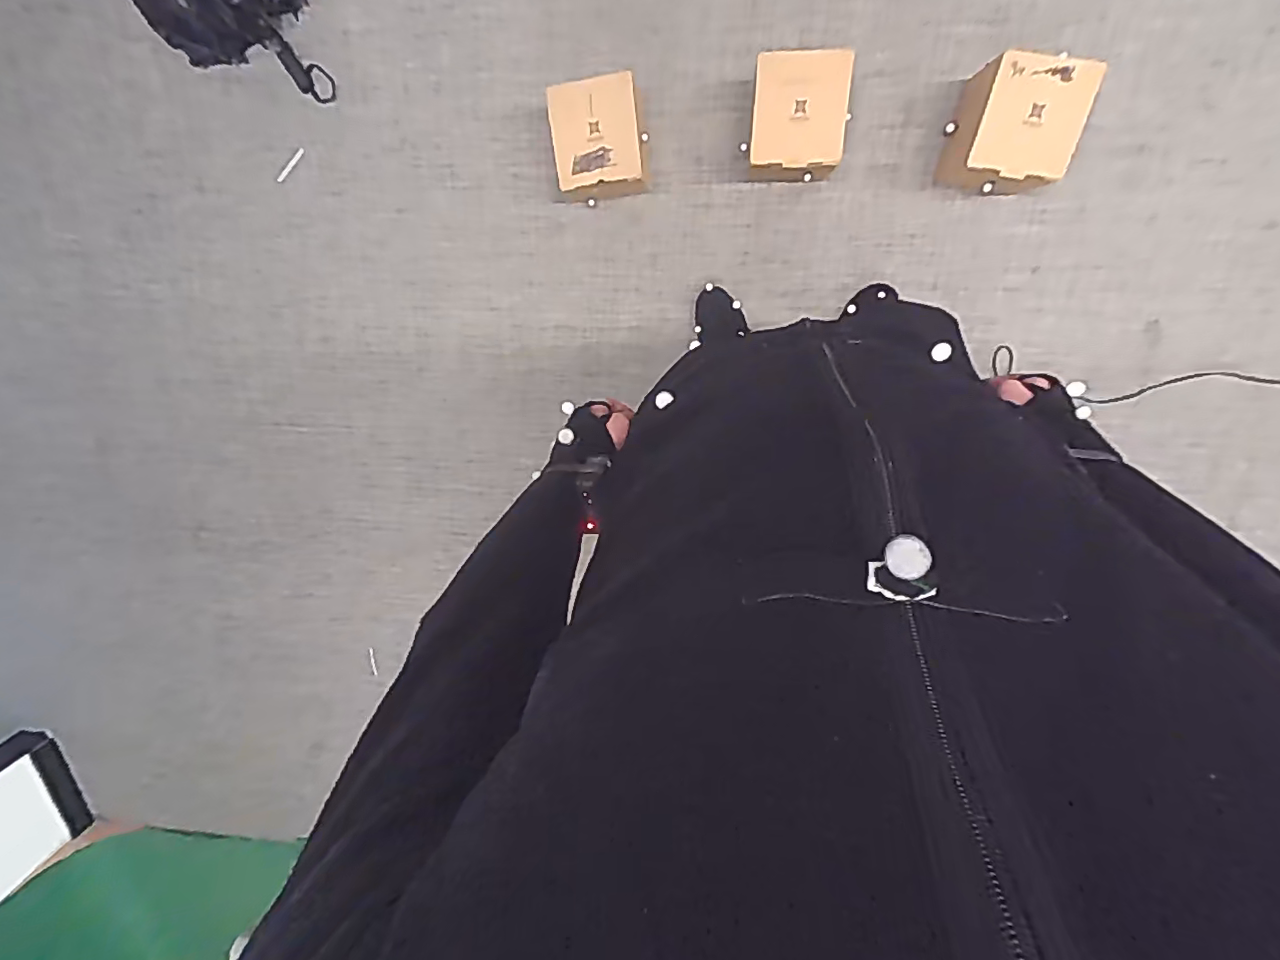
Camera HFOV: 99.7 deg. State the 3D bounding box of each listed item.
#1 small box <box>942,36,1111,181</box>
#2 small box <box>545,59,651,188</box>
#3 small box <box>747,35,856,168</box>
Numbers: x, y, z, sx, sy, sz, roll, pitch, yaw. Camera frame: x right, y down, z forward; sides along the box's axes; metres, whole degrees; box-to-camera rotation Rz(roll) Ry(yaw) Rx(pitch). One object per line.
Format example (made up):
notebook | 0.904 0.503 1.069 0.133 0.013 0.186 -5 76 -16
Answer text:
small box | 0.680 -0.659 0.981 0.168 0.176 0.179 12 113 4
small box | -0.073 -0.694 1.076 0.168 0.176 0.179 -4 110 9
small box | 0.294 -0.701 1.023 0.168 0.176 0.179 2 110 6
